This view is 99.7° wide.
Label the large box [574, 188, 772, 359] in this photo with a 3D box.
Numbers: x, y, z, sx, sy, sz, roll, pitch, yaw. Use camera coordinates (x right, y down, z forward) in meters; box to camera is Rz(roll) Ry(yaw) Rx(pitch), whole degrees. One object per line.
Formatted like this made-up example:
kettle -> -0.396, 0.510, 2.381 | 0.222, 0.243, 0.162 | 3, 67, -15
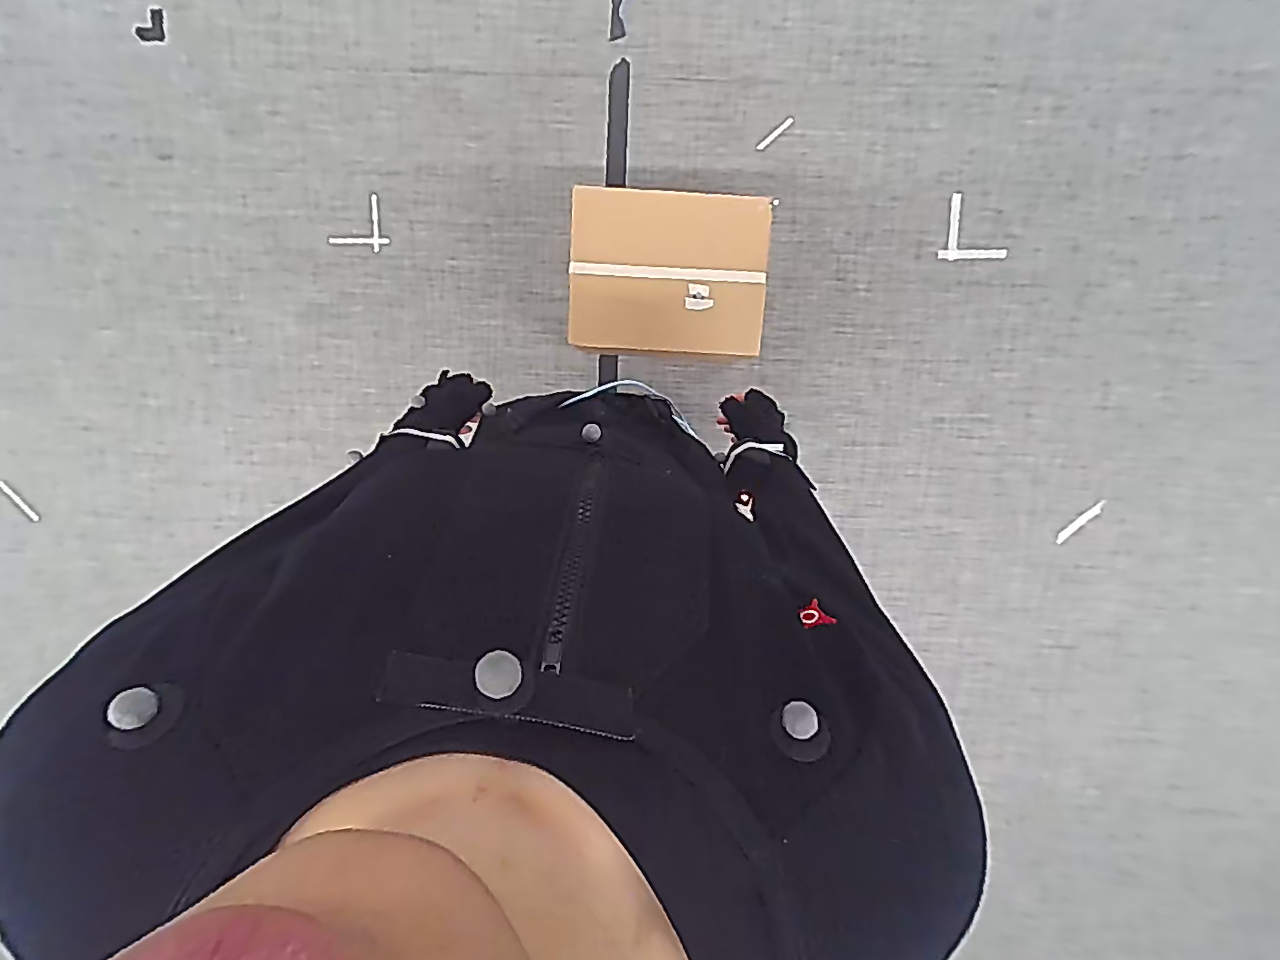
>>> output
large box -> 0.061, -0.456, 1.268 | 0.408, 0.320, 0.320 | 4, 101, -1
